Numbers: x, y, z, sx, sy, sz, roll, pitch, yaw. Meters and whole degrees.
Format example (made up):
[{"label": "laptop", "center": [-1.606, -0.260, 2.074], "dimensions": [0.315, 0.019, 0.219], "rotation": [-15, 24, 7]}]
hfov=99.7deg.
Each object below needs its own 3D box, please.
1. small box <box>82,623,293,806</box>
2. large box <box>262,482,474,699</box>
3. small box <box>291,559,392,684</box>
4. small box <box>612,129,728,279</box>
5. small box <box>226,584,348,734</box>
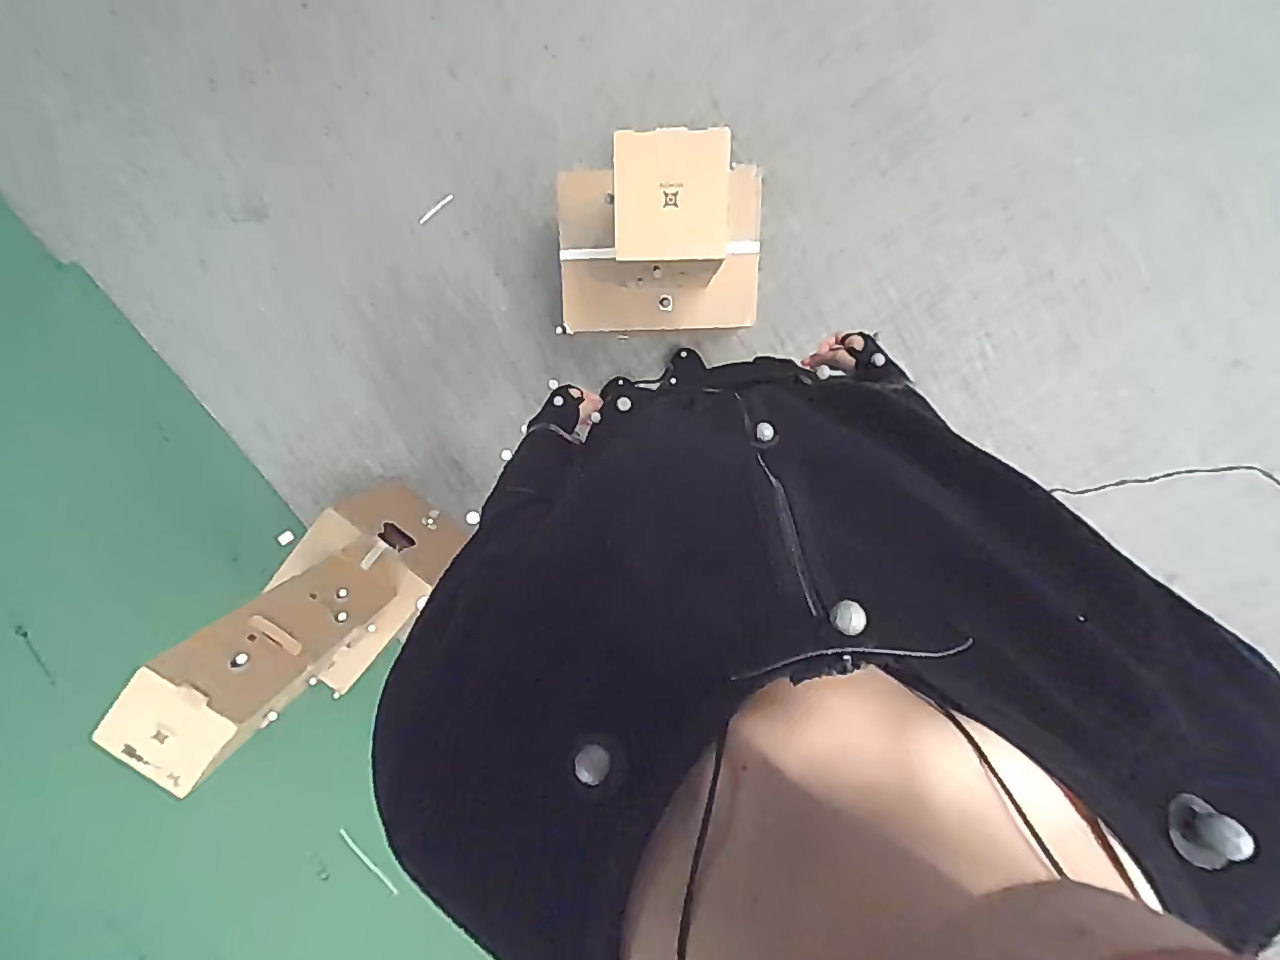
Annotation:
[{"label": "small box", "center": [-0.712, 0.367, 0.878], "dimensions": [0.168, 0.176, 0.179], "rotation": [41, 99, -6]}, {"label": "large box", "center": [-0.721, 0.275, 1.444], "dimensions": [0.320, 0.320, 0.408], "rotation": [41, 102, -5]}, {"label": "small box", "center": [-0.695, 0.303, 1.199], "dimensions": [0.179, 0.176, 0.168], "rotation": [41, 100, -6]}, {"label": "small box", "center": [0.046, -0.416, 0.845], "dimensions": [0.168, 0.176, 0.179], "rotation": [0, 100, 3]}, {"label": "small box", "center": [-0.702, 0.332, 1.038], "dimensions": [0.168, 0.176, 0.179], "rotation": [40, 101, -6]}]
